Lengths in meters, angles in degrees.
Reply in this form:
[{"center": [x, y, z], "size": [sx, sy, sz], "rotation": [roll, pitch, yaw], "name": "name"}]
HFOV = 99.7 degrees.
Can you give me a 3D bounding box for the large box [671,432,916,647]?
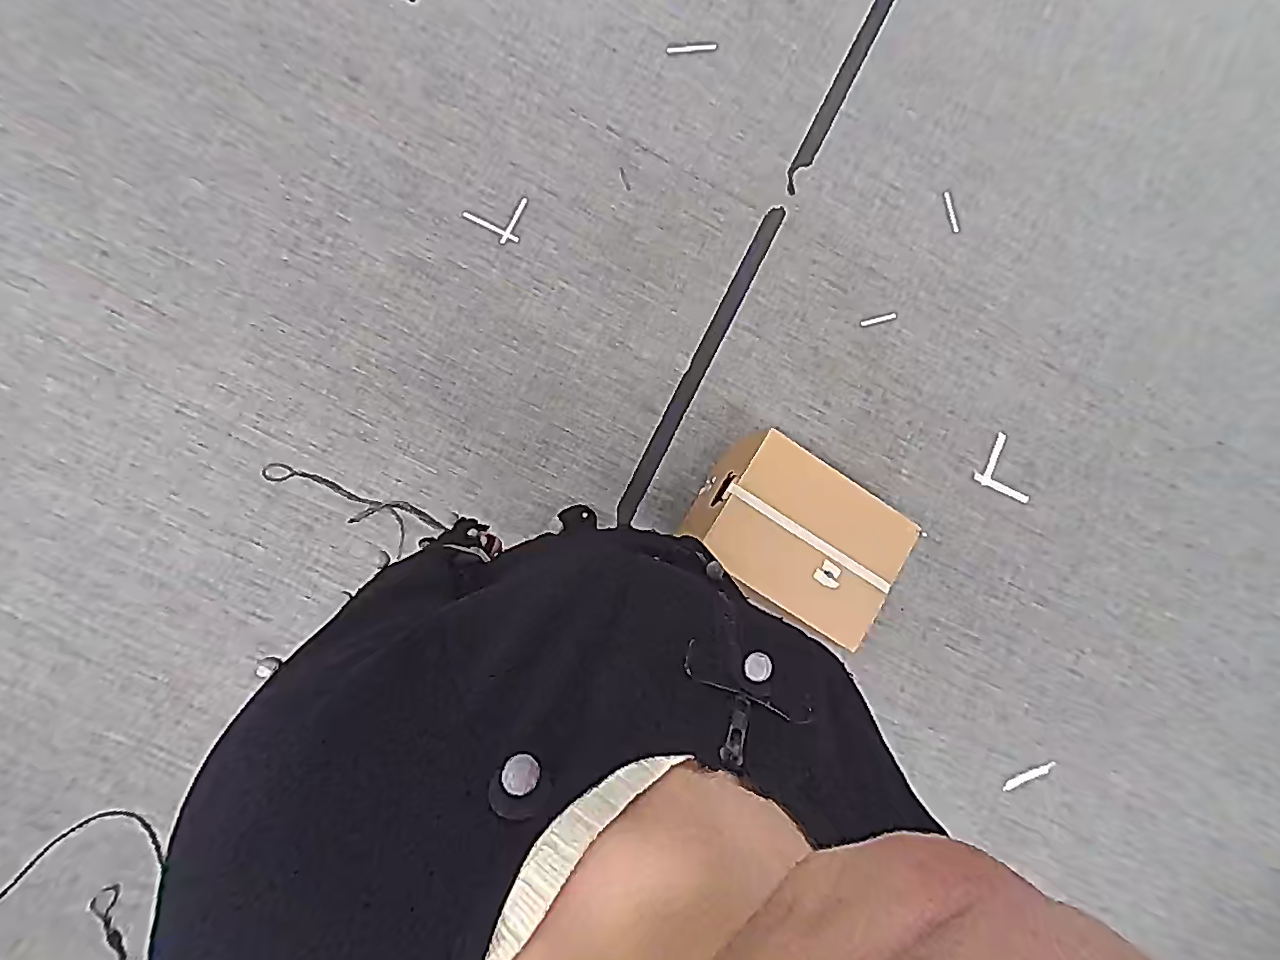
[{"center": [0.339, 0.133, 1.291], "size": [0.408, 0.320, 0.320], "rotation": [32, 84, -5], "name": "large box"}]
